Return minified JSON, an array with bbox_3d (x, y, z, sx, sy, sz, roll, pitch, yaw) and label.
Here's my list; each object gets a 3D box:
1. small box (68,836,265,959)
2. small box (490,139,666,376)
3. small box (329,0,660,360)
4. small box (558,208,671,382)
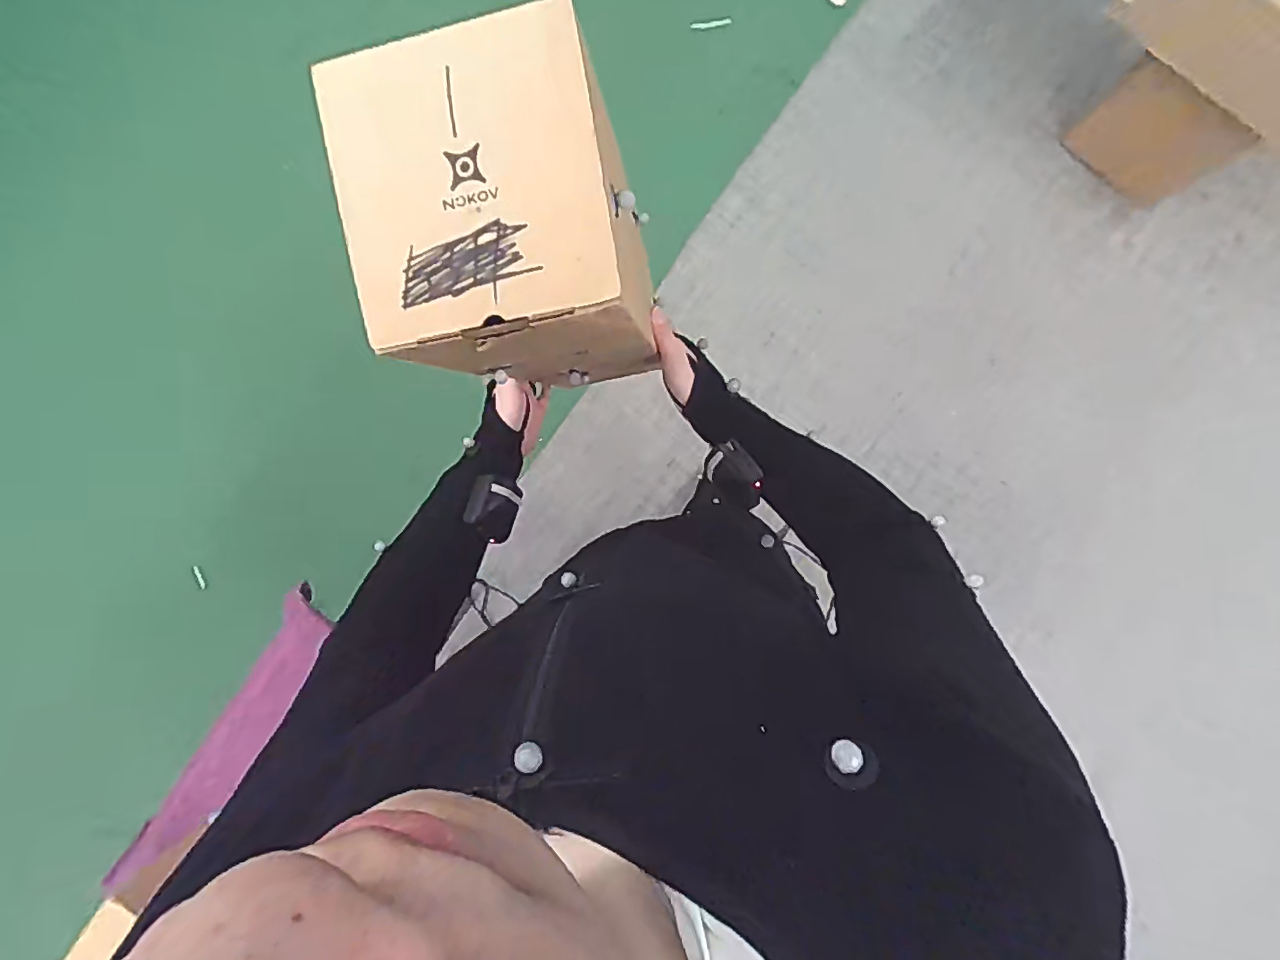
[{"bbox_3d":[-0.766,0.741,0.878,0.168,0.176,0.179,35,92,2],"label":"small box"},{"bbox_3d":[-0.067,-0.211,0.555,0.168,0.176,0.179,-8,96,6],"label":"small box"},{"bbox_3d":[-0.081,-0.188,0.394,0.168,0.176,0.179,-8,95,6],"label":"small box"},{"bbox_3d":[-0.053,-0.234,0.718,0.168,0.176,0.179,-9,96,6],"label":"small box"}]
